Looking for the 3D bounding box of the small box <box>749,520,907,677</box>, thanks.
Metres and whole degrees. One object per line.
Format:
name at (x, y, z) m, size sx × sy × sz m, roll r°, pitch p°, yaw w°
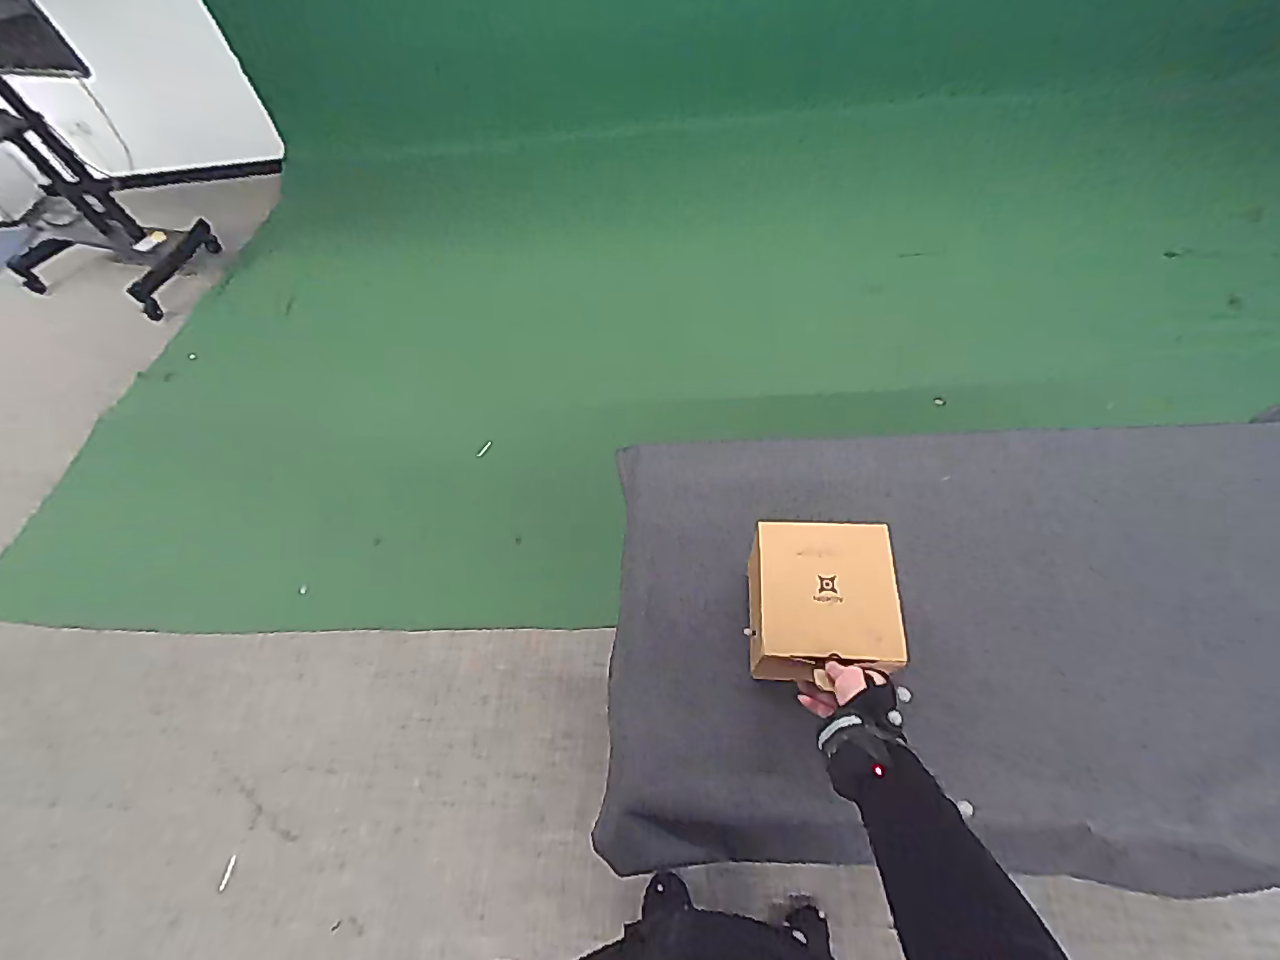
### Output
small box at (0.242, 0.168, 0.743) m, size 0.168 × 0.176 × 0.179 m, roll 1°, pitch 62°, yaw 5°
